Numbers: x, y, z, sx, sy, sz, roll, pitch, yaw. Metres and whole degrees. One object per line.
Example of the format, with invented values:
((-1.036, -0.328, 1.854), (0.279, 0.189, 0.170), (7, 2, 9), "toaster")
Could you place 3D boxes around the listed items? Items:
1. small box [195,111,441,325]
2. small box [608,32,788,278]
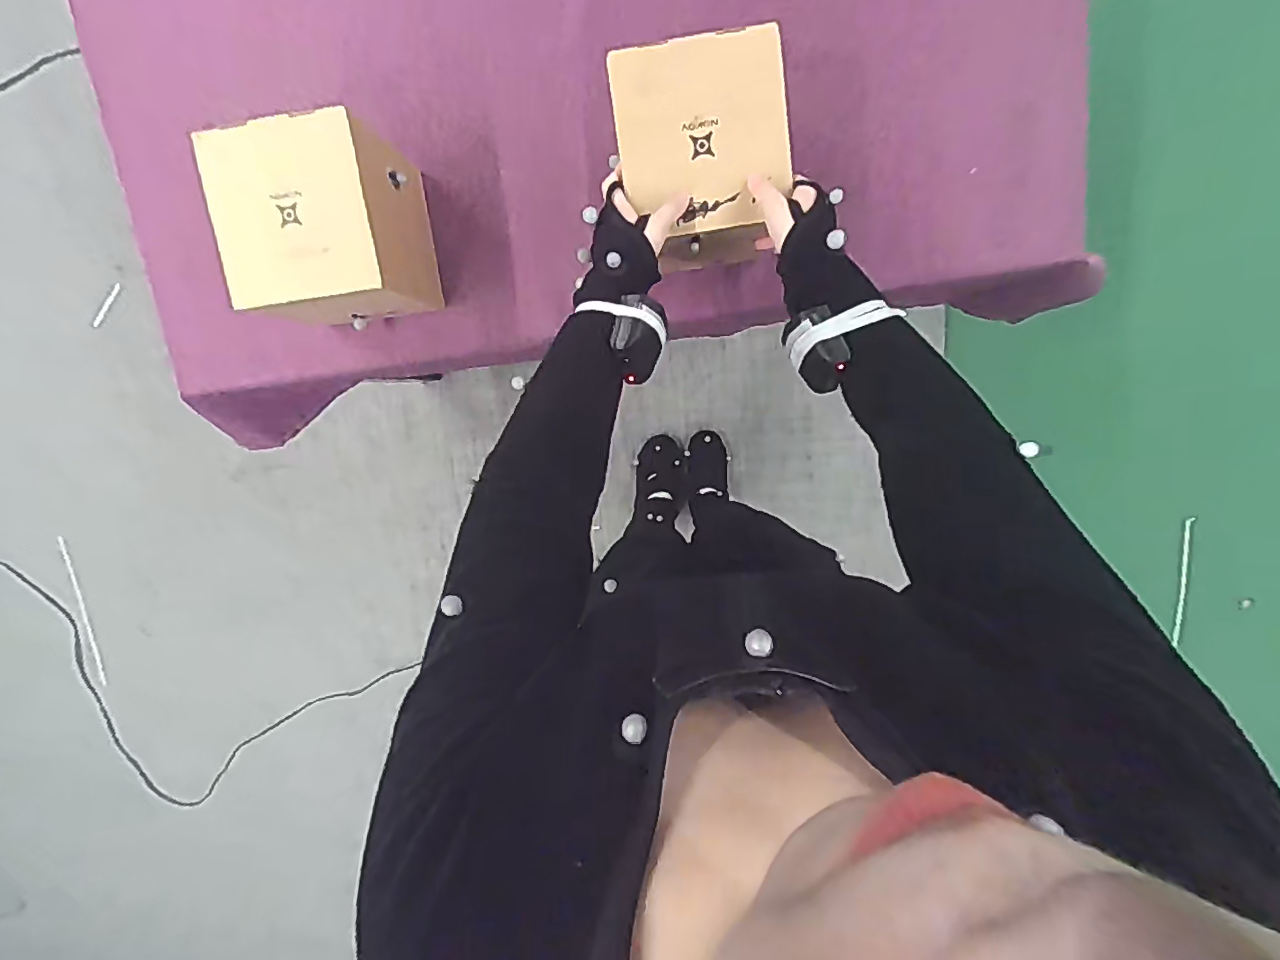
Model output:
((-0.354, -0.287, 0.631), (0.168, 0.176, 0.179), (-6, 101, 4), "small box")
((0.061, -0.342, 0.605), (0.168, 0.176, 0.179), (-6, 100, 5), "small box")
